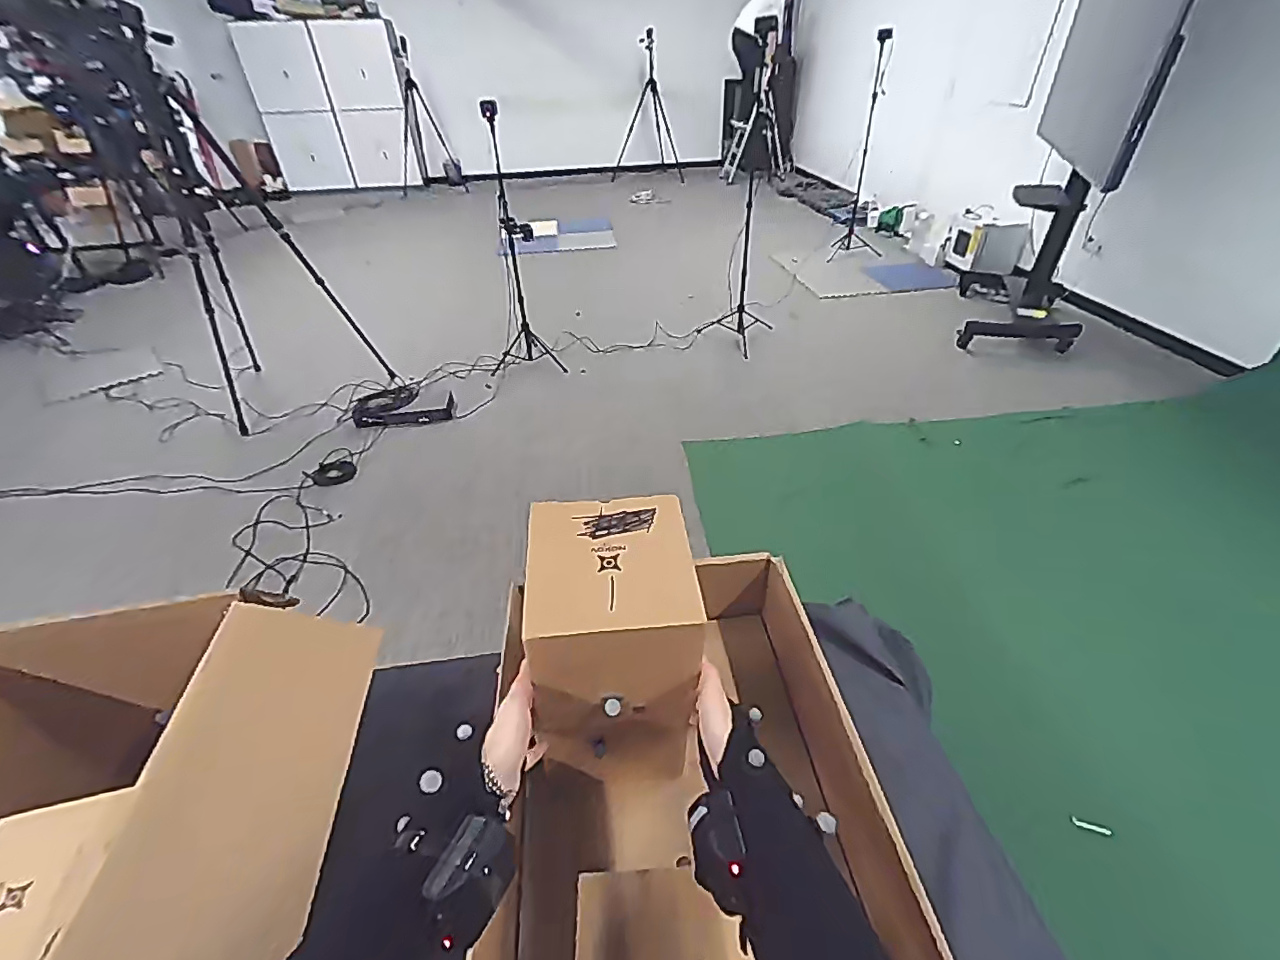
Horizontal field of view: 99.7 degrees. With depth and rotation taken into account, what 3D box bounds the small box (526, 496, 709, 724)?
[{"bbox_3d":[-0.028,0.139,0.591,0.168,0.176,0.179,-3,42,-4],"label":"small box"}]
